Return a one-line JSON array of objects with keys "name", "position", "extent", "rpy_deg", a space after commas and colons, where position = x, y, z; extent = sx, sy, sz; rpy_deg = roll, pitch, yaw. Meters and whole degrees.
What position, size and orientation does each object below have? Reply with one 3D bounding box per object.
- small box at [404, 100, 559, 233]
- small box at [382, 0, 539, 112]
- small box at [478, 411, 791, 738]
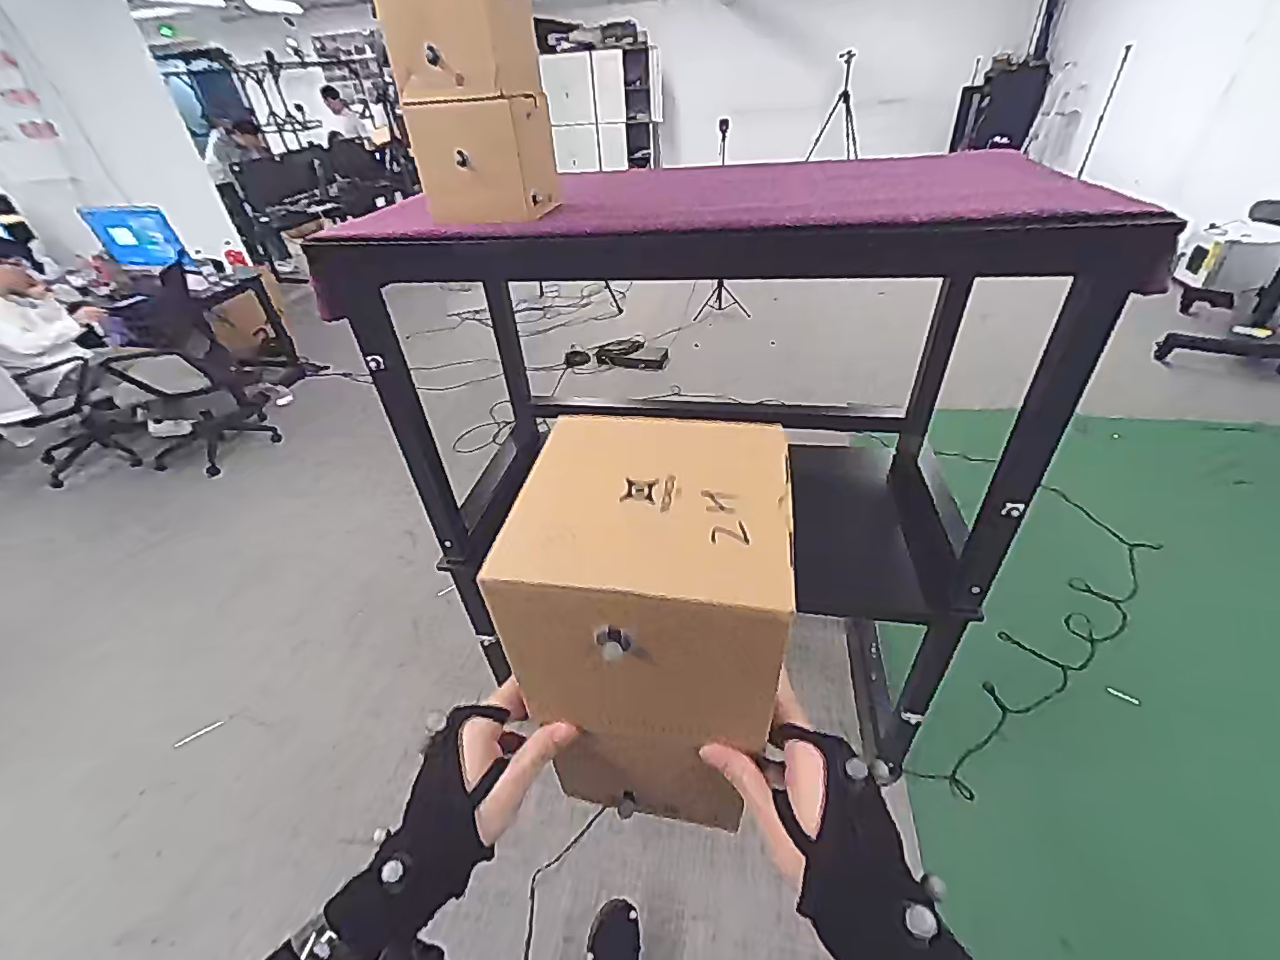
[{"name": "small box", "position": [-0.246, -0.517, 0.894], "extent": [0.179, 0.176, 0.168], "rpy_deg": [3, 37, 11]}, {"name": "small box", "position": [-0.259, -0.653, 0.806], "extent": [0.168, 0.176, 0.179], "rpy_deg": [4, 37, 11]}, {"name": "small box", "position": [0.012, 0.066, 0.398], "extent": [0.179, 0.176, 0.168], "rpy_deg": [4, 41, 10]}]
